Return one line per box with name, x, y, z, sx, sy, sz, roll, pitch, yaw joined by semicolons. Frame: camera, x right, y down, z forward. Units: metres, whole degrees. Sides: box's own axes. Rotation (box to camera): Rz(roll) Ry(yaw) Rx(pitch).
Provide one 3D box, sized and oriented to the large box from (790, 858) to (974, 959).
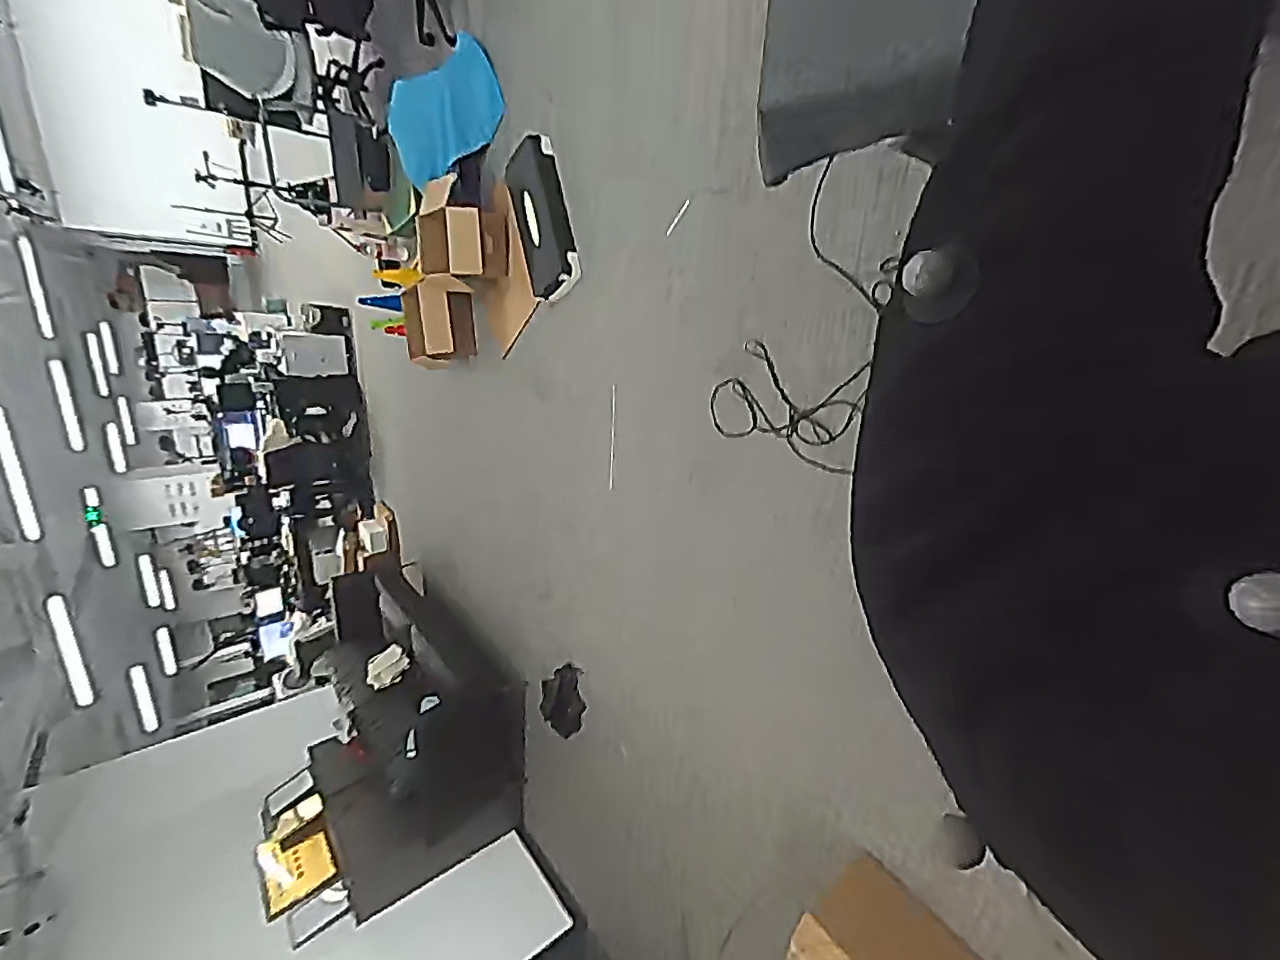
large box;0.682;1.390;1.494;0.408;0.320;0.320;32;122;44
